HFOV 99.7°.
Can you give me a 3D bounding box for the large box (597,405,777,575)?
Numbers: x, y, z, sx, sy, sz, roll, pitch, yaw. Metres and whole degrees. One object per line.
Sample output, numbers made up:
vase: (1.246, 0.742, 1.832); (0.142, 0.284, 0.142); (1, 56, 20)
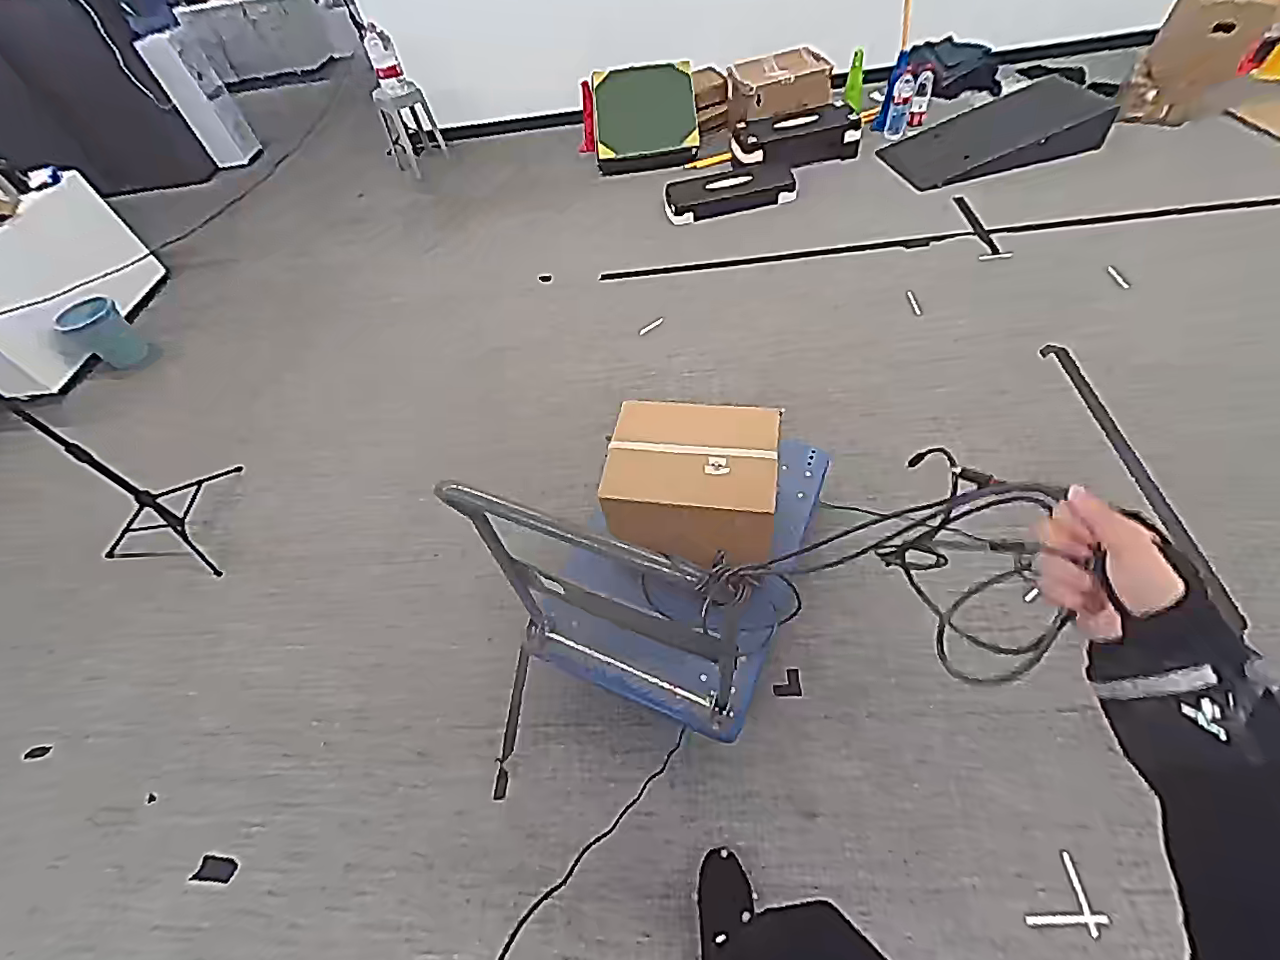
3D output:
large box: (0.133, 0.027, 1.405); (0.408, 0.320, 0.320); (5, 55, 11)
